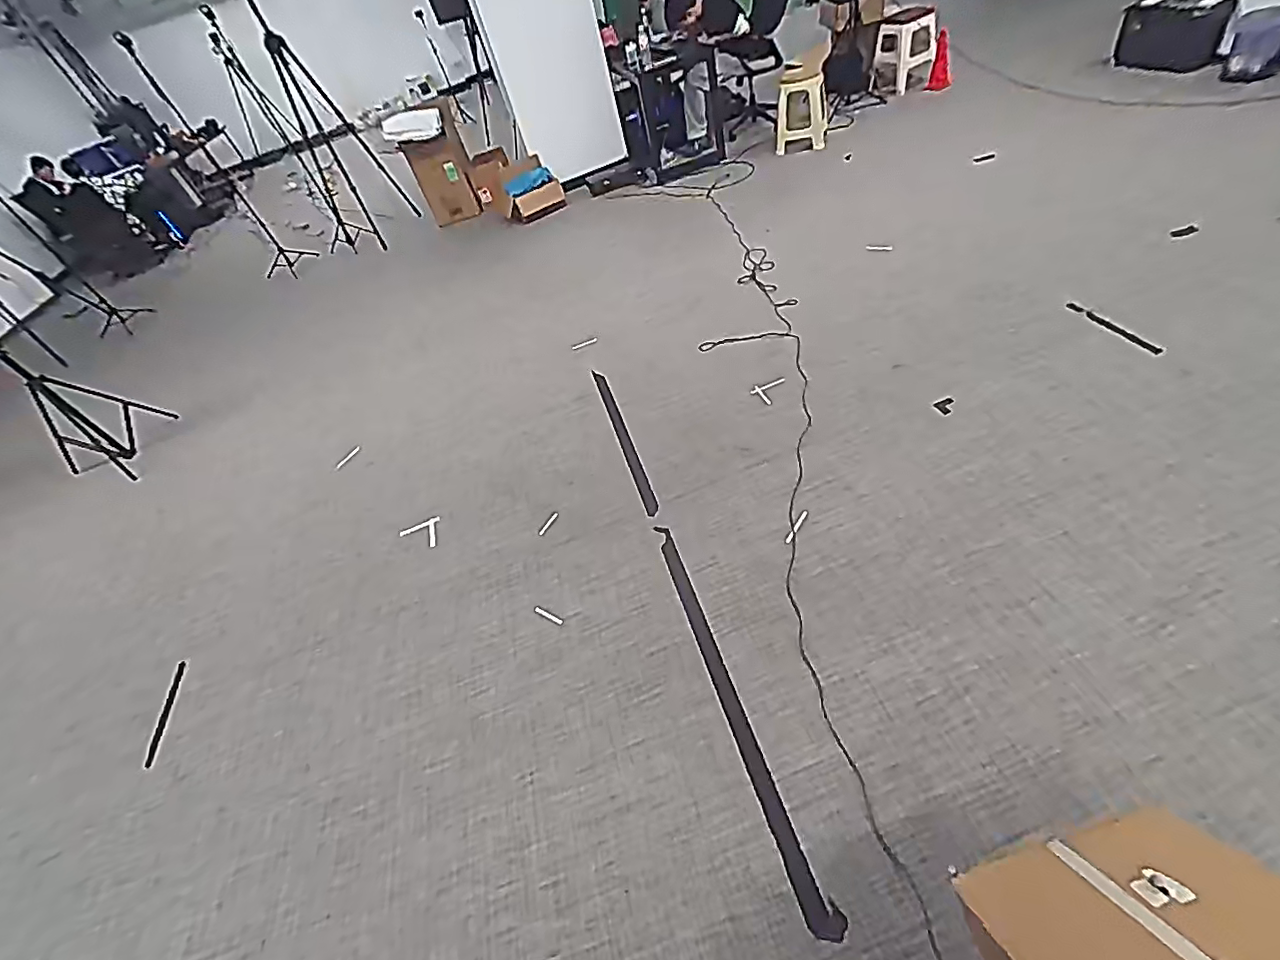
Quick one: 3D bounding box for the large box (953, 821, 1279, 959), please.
[{"bbox_3d":[0.638,0.657,0.568,0.320,0.408,0.320,-19,81,1],"label":"large box"}]
